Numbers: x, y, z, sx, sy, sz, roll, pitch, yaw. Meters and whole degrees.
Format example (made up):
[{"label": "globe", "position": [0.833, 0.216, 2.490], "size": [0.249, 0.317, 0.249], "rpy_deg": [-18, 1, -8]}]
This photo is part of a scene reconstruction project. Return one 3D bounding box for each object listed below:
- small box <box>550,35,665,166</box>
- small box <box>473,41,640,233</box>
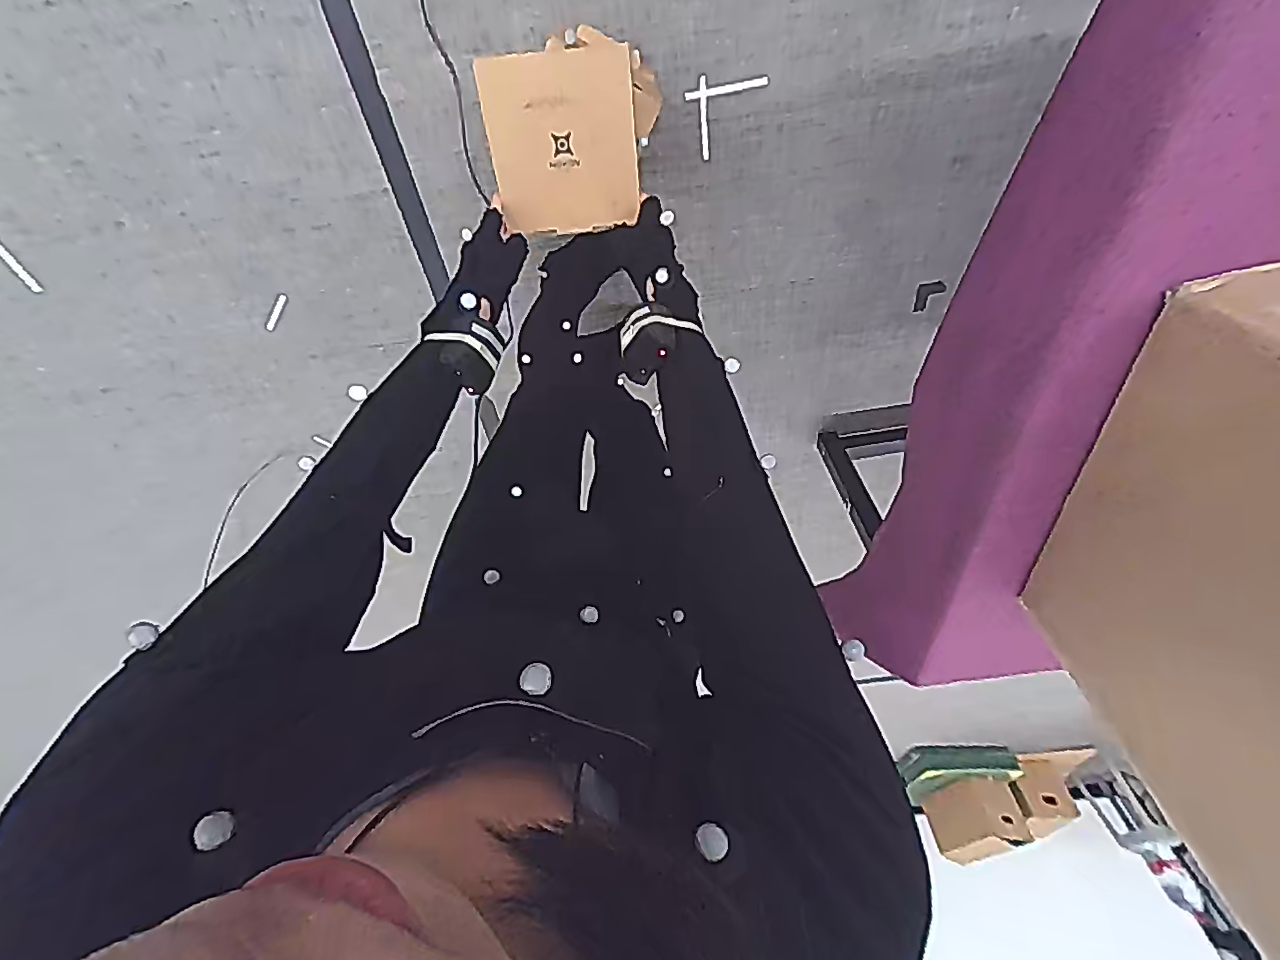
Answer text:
[{"label": "small box", "position": [-0.081, -0.528, 0.811], "size": [0.168, 0.176, 0.179], "rpy_deg": [18, 128, -19]}, {"label": "small box", "position": [-0.087, -0.425, 0.668], "size": [0.168, 0.176, 0.179], "rpy_deg": [-5, 128, 2]}]
